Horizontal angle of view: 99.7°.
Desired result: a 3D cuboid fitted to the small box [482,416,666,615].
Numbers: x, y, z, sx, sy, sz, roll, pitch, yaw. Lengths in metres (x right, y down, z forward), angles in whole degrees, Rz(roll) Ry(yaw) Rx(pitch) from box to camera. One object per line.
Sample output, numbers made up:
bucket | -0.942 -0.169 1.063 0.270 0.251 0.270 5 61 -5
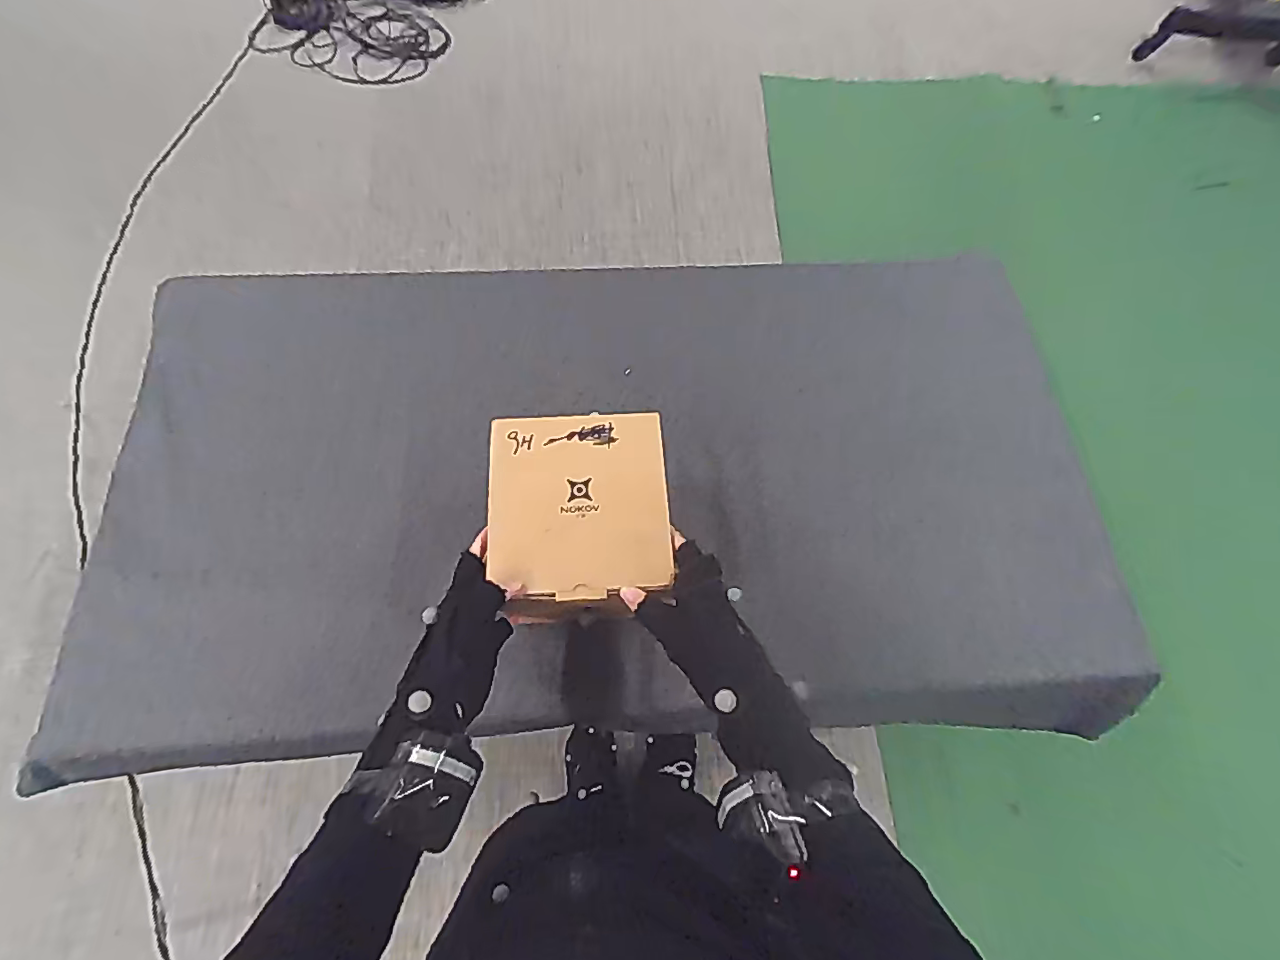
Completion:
small box | -0.063 0.048 0.575 0.168 0.176 0.179 -2 69 -3
